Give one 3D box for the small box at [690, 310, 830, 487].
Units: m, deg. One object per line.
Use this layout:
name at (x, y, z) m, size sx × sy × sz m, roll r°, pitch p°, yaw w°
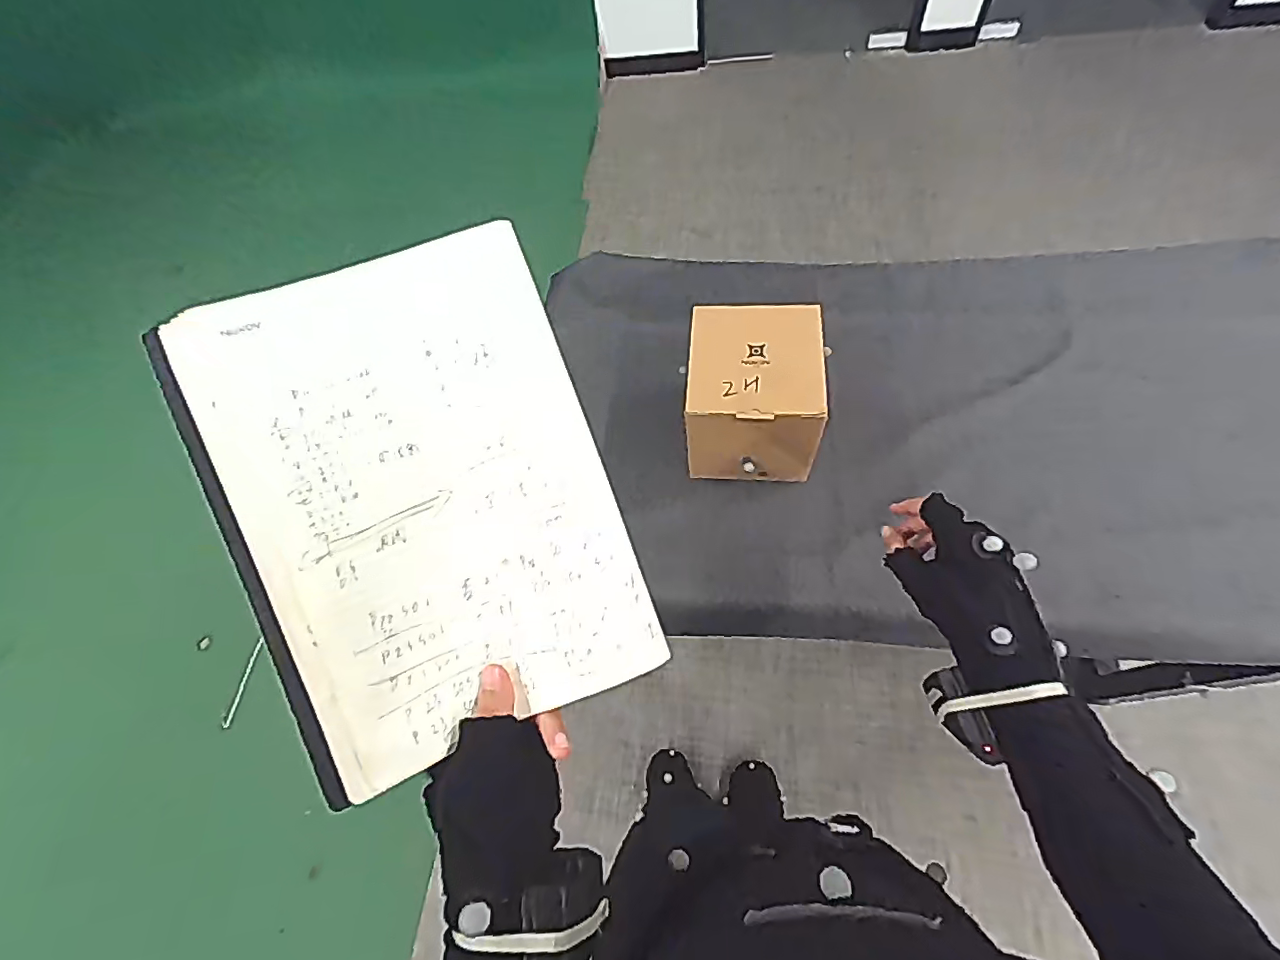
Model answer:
small box at (0.158, -0.109, 0.743) m, size 0.168 × 0.176 × 0.179 m, roll 2°, pitch 62°, yaw 9°
